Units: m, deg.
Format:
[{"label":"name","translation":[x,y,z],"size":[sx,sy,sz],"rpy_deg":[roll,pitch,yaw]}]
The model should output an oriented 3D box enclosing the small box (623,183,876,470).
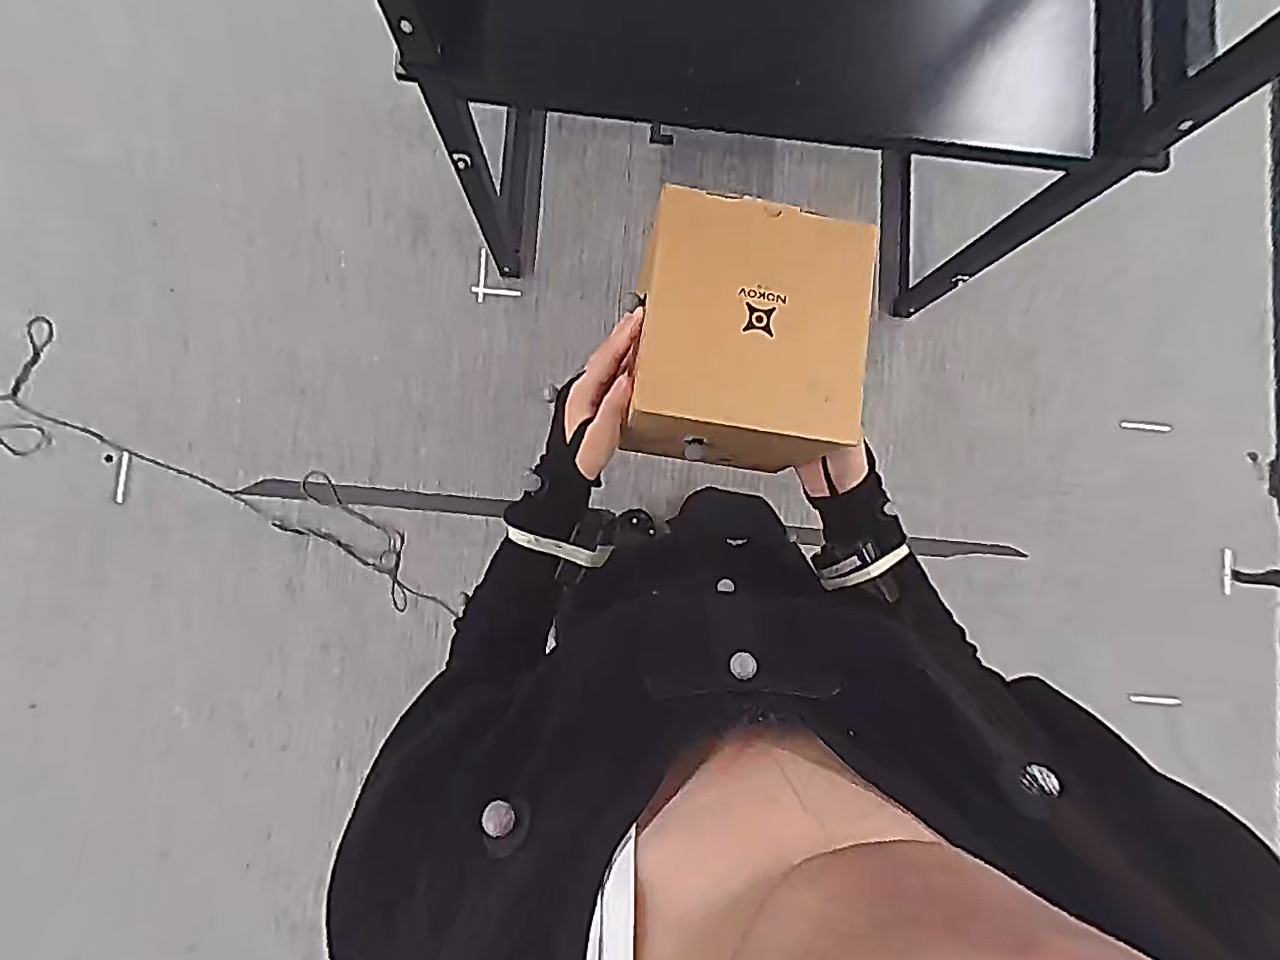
[{"label":"small box","translation":[0.078,-0.111,0.469],"size":[0.168,0.176,0.179],"rpy_deg":[8,82,-5]}]
